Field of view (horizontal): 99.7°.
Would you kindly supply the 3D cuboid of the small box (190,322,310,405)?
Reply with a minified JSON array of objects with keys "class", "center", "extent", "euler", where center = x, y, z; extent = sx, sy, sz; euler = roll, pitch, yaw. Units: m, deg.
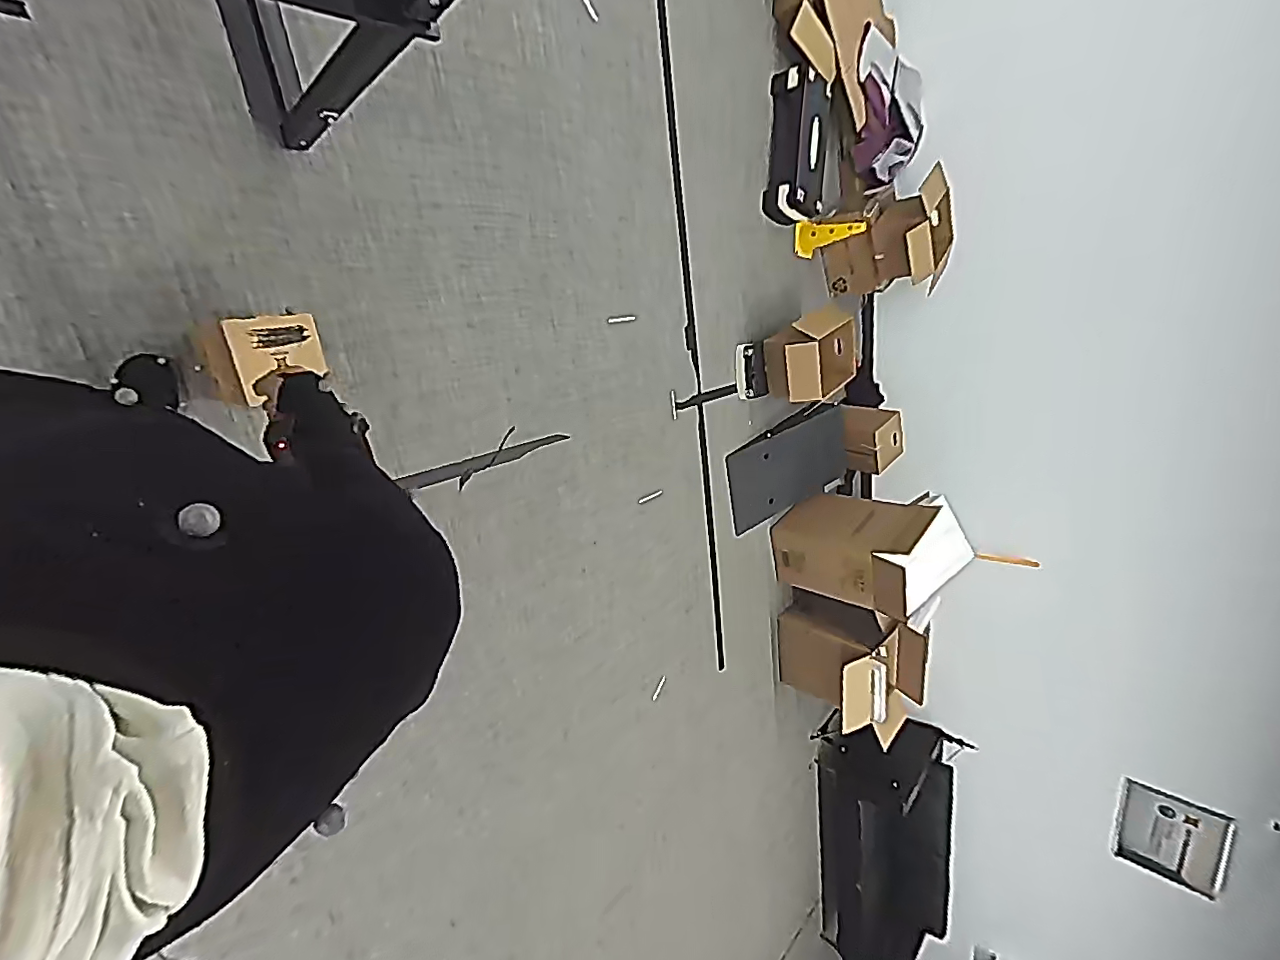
[{"class":"small box","center":[-0.930,-0.281,1.290],"extent":[0.179,0.176,0.168],"euler":[-25,115,-40]}]
